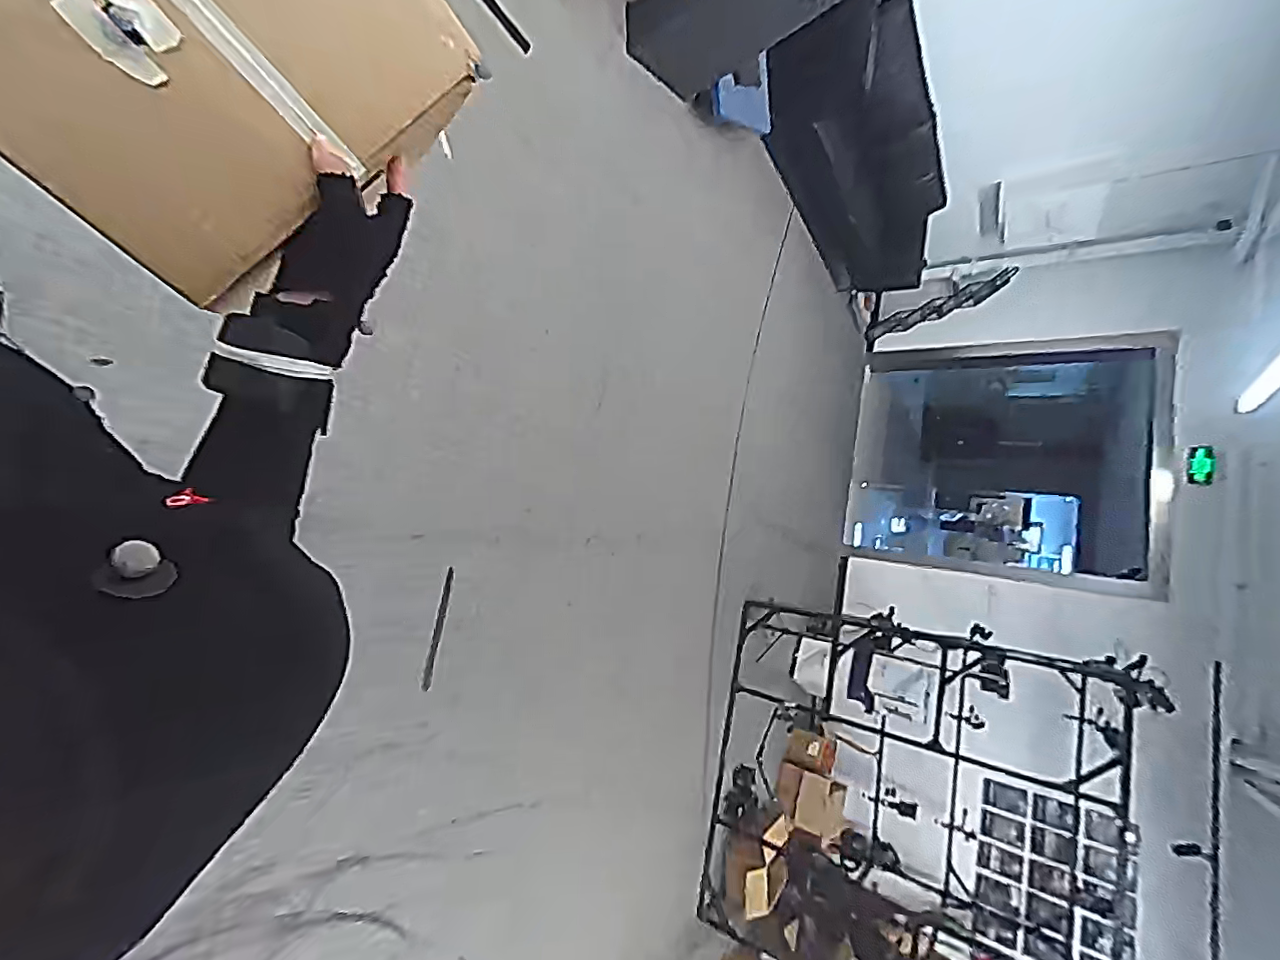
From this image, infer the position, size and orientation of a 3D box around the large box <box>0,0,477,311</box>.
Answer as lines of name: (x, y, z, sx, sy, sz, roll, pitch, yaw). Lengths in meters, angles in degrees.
large box: (-0.431, -0.405, 0.463, 0.320, 0.320, 0.408, -50, 124, -11)
